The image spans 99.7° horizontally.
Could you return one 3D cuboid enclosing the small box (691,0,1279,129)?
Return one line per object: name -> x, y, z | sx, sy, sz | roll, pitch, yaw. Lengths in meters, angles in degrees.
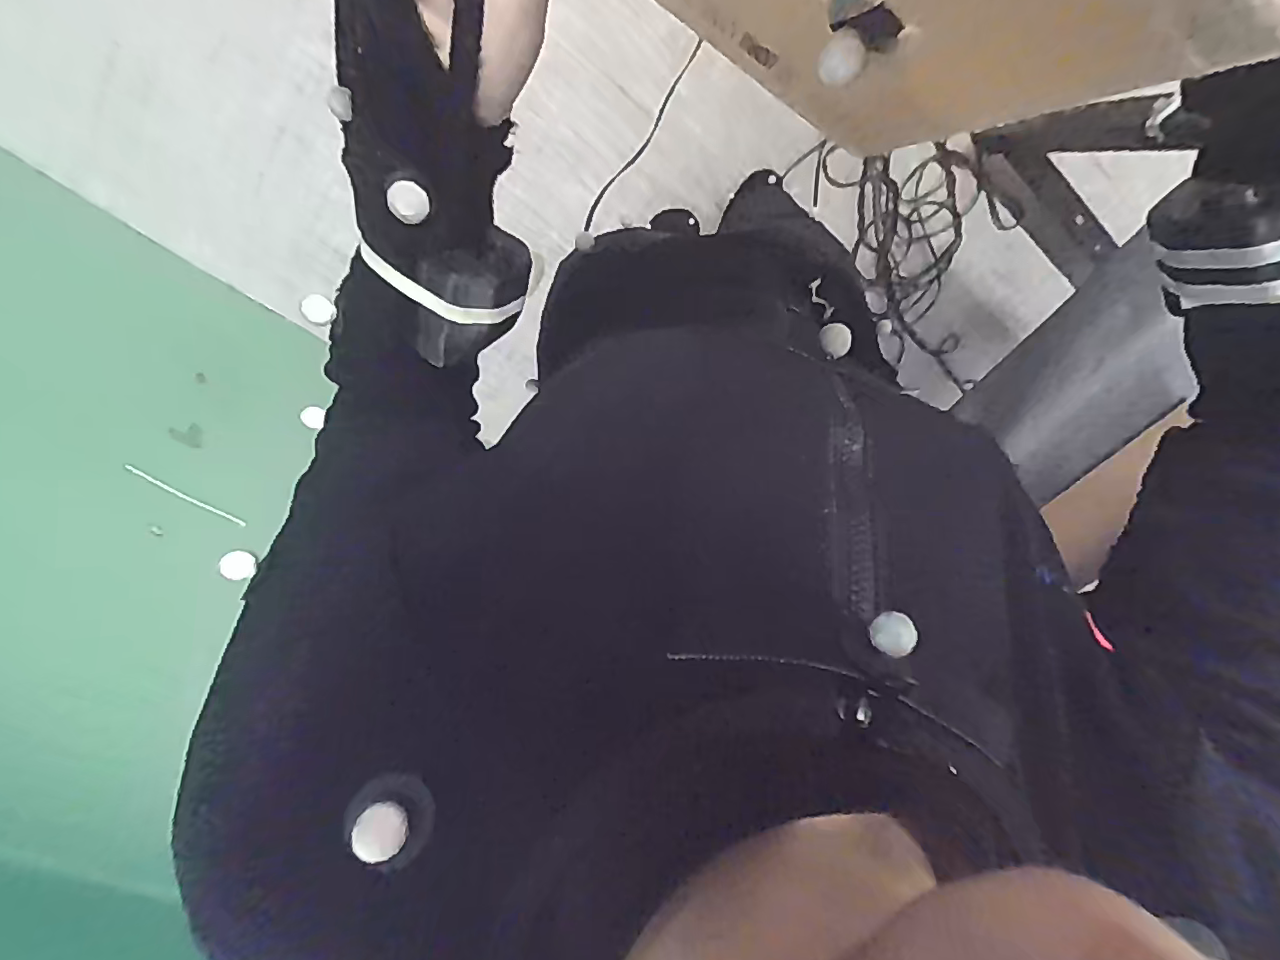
small box -> 0.066, -0.204, 0.101 | 0.168, 0.176, 0.179 | 26, 111, -16
